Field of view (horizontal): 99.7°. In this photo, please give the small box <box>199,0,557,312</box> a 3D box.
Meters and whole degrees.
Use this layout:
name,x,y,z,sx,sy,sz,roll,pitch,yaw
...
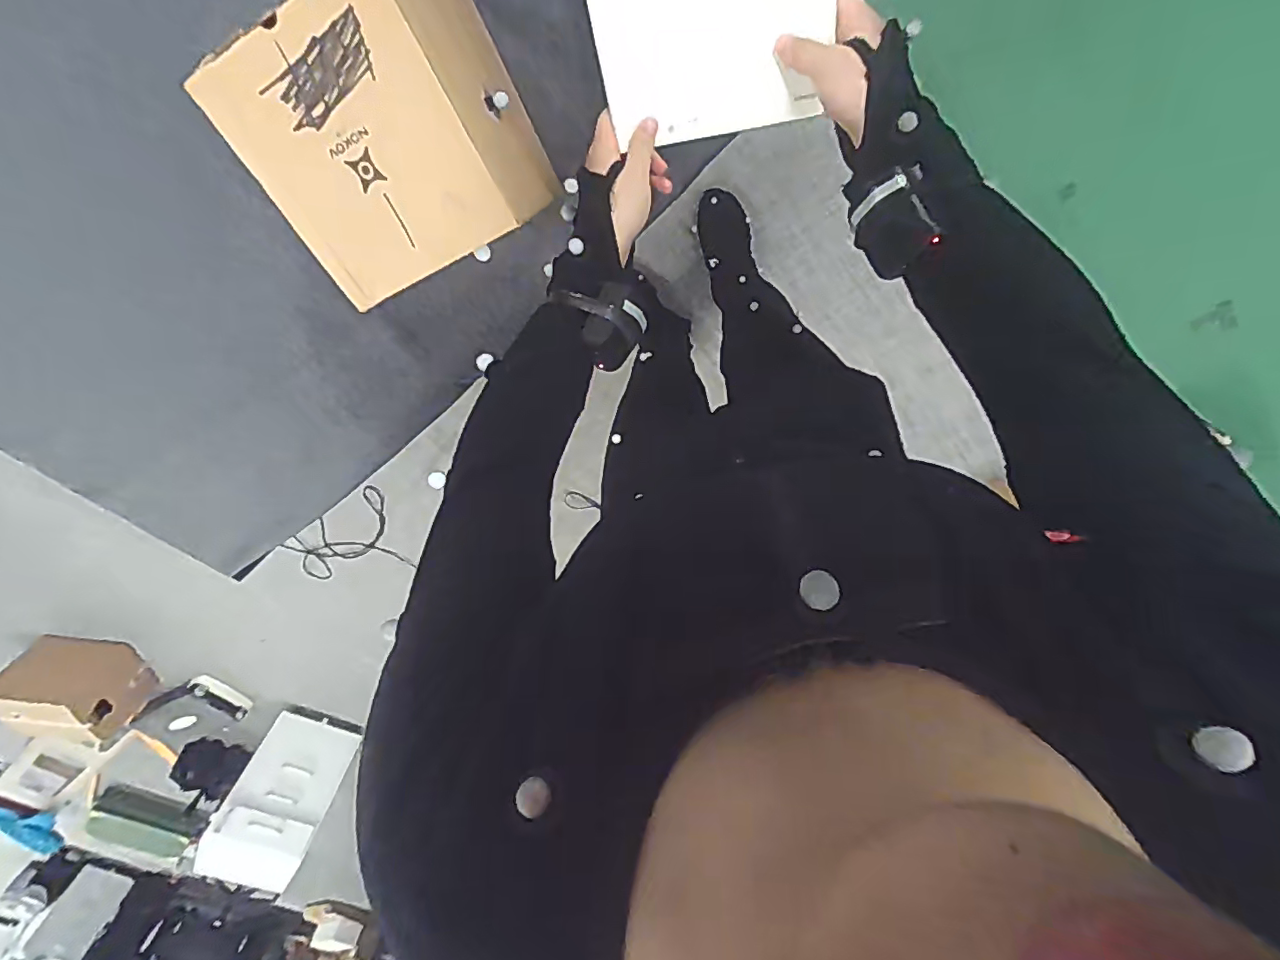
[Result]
name,x,y,z,sx,sy,sz,roll,pitch,yaw
small box,-0.193,-0.277,0.458,0.168,0.176,0.179,-18,123,19
